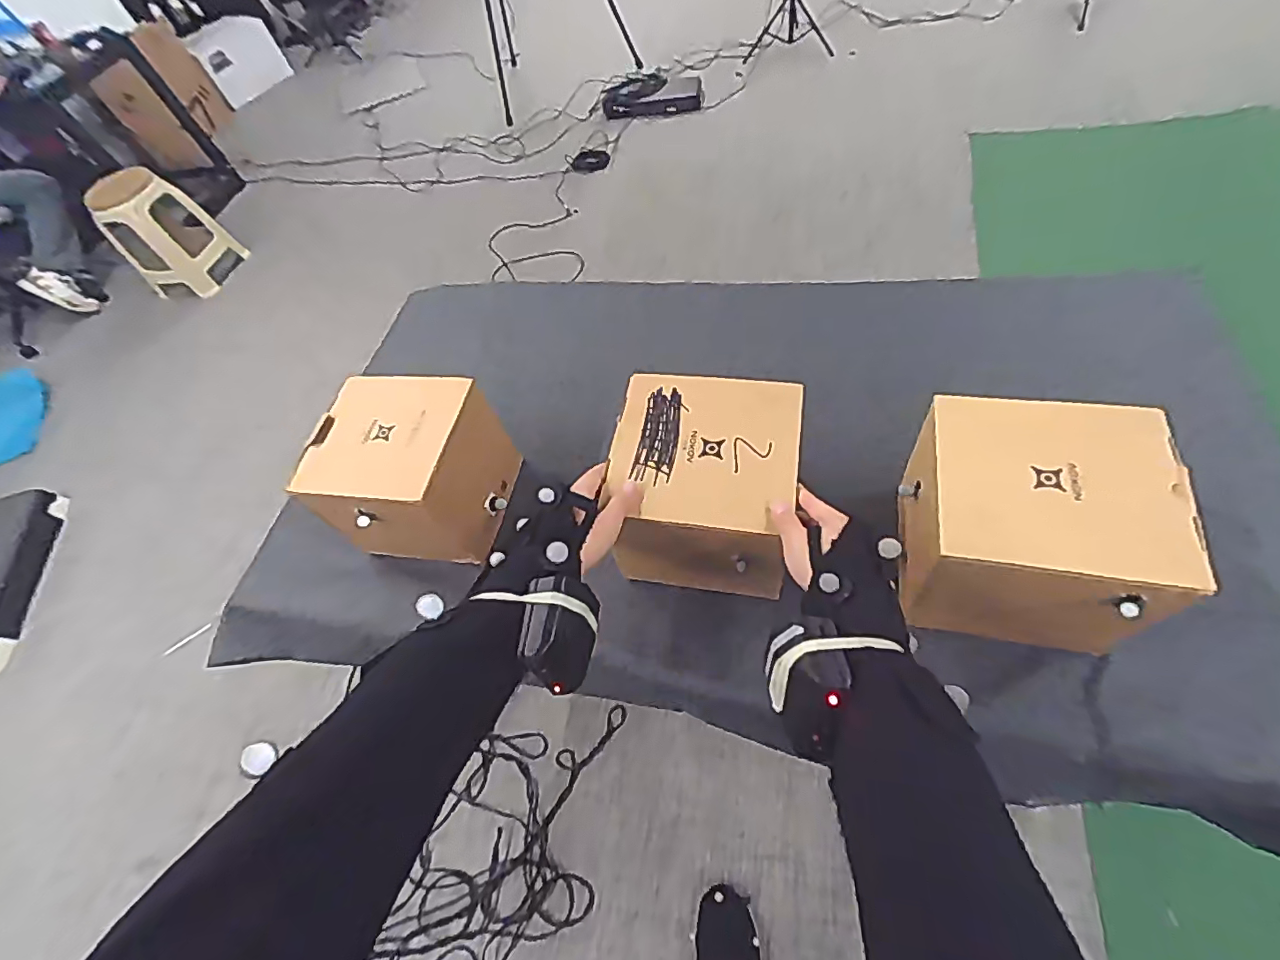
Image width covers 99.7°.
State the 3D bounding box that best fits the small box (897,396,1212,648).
[{"bbox_3d":[0.345,0.043,0.499,0.179,0.176,0.168,6,59,16],"label":"small box"}]

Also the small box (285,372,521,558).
[{"bbox_3d":[-0.273,-0.014,0.668,0.179,0.176,0.168,4,60,13],"label":"small box"}]
